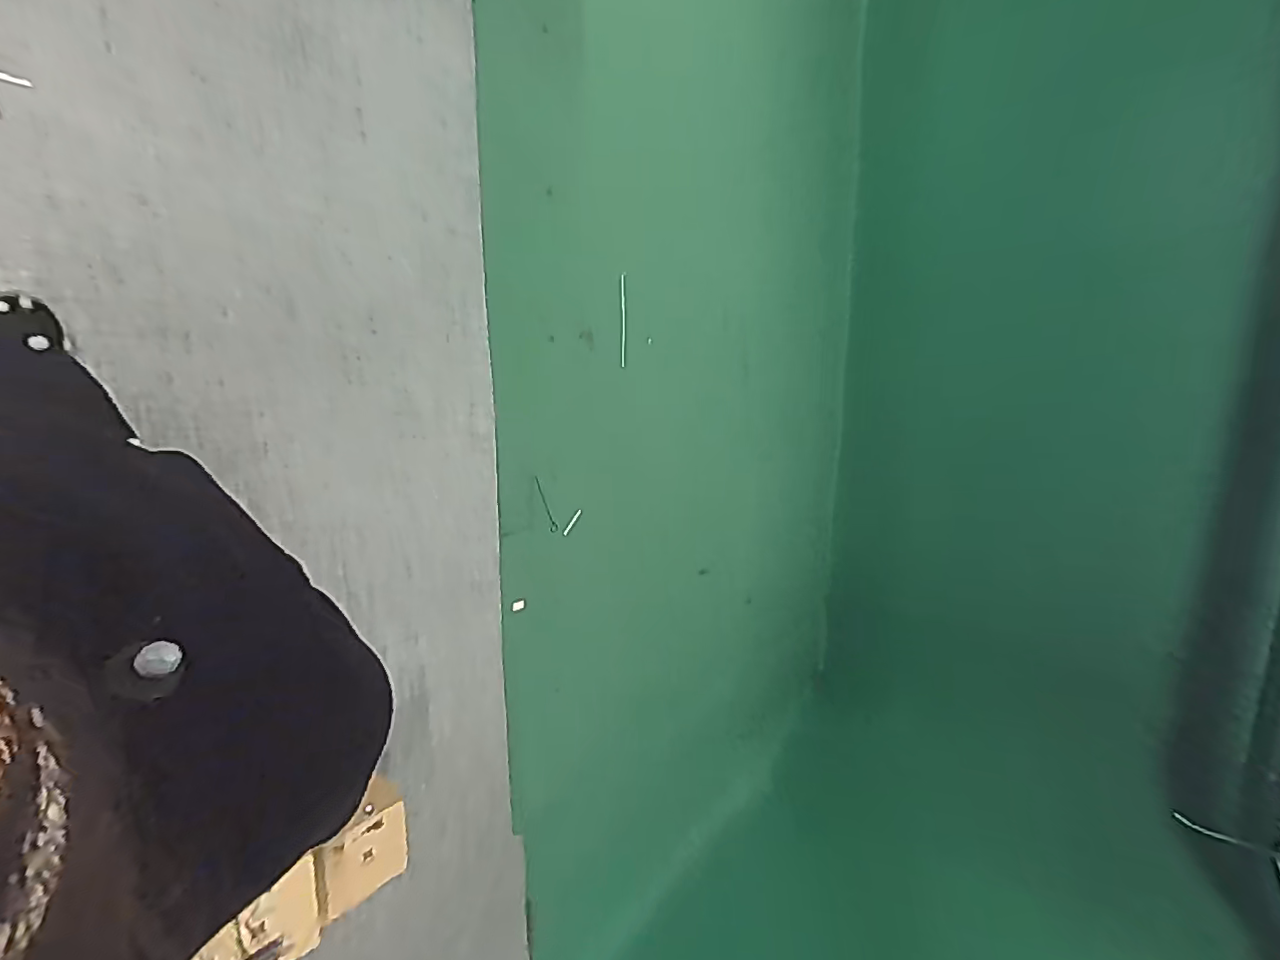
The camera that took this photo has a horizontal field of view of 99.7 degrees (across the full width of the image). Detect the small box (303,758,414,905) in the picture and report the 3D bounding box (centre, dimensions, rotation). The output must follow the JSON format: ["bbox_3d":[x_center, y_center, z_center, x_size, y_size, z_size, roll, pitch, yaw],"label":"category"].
[{"bbox_3d":[-0.619,0.759,1.191,0.168,0.176,0.179,-10,107,-50],"label":"small box"}]
